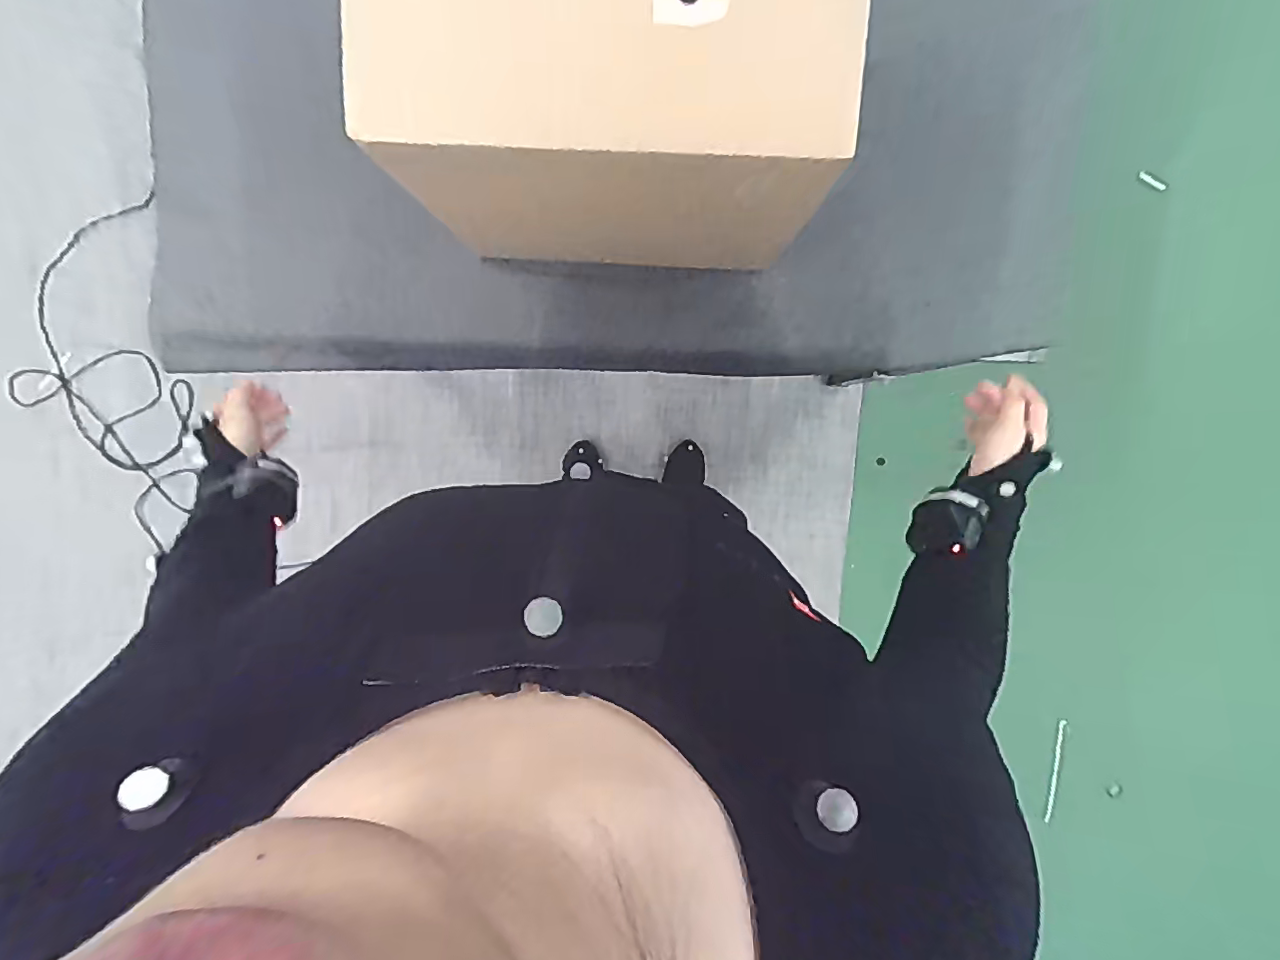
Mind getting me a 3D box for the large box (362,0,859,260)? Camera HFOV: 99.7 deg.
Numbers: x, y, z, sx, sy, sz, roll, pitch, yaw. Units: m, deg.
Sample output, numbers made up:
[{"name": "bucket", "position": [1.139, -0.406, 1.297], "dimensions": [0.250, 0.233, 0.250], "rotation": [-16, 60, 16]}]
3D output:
[{"name": "large box", "position": [-0.023, -0.439, 0.574], "dimensions": [0.408, 0.320, 0.320], "rotation": [2, 97, 0]}]
